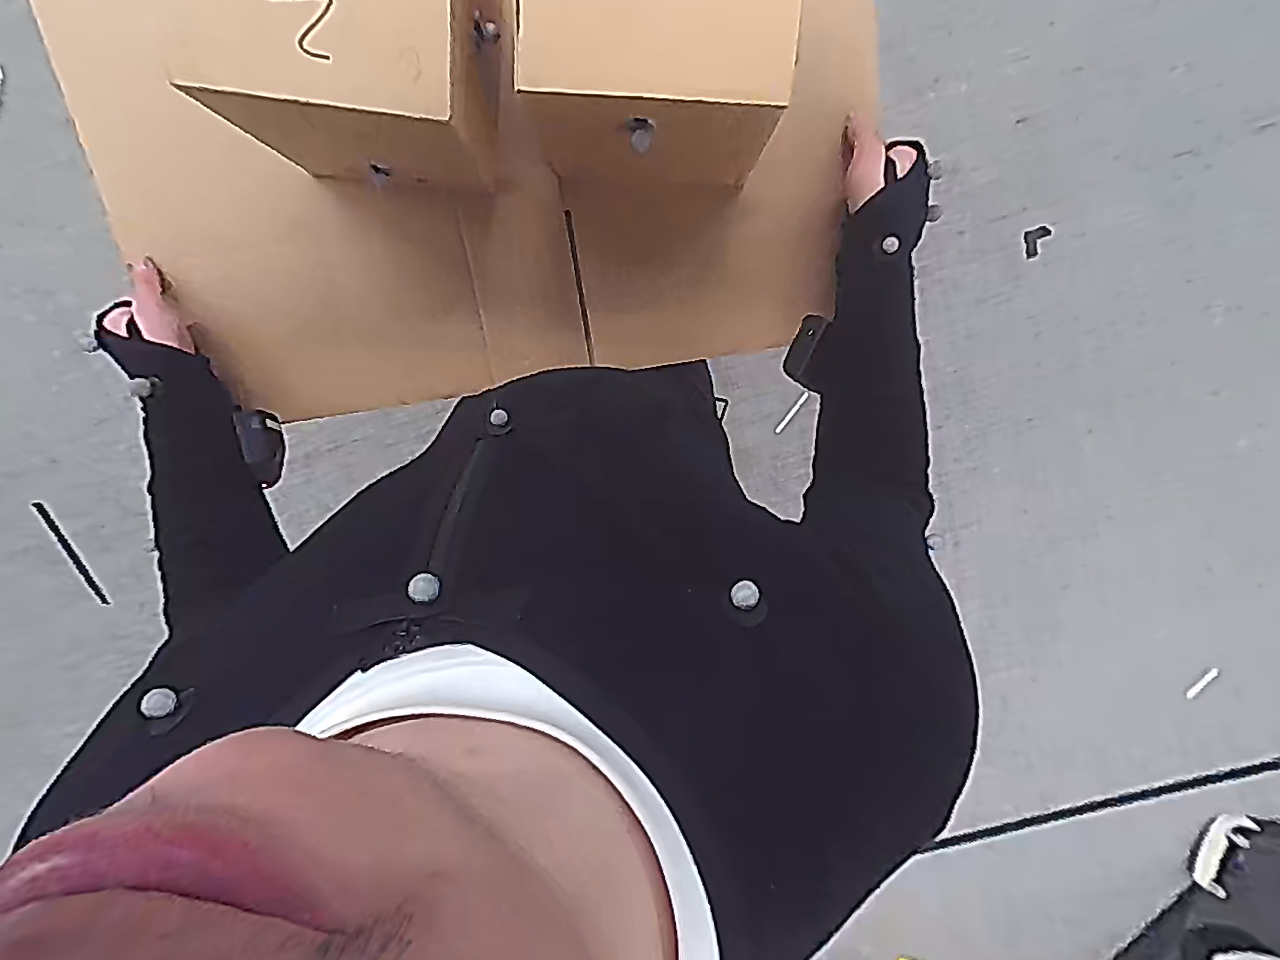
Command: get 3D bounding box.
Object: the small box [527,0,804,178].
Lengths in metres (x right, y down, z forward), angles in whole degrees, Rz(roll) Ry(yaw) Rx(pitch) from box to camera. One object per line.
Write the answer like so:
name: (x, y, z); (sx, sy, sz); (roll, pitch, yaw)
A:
small box: (0.020, -0.344, 0.408); (0.179, 0.176, 0.168); (4, 105, 1)
